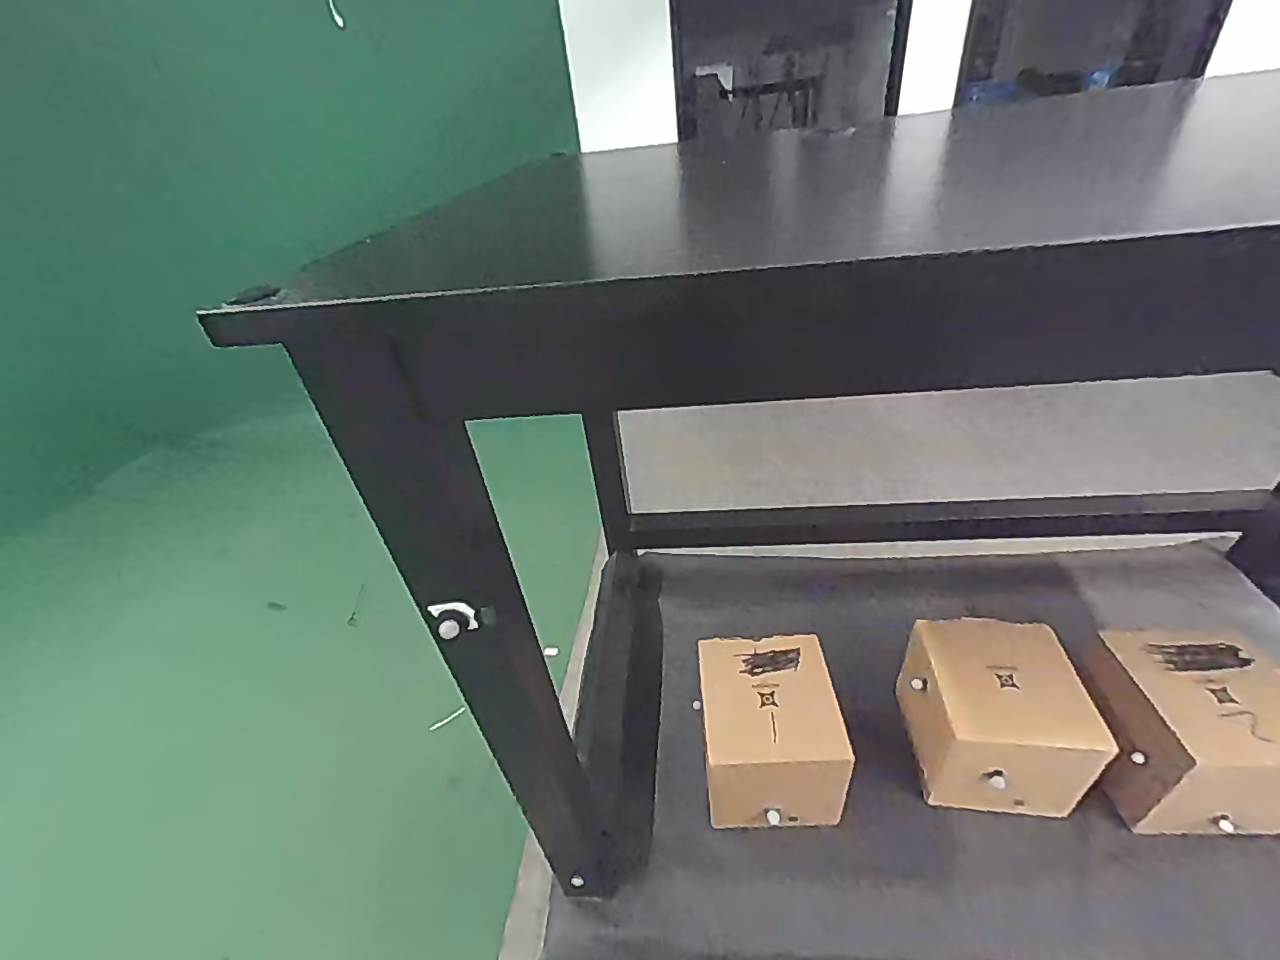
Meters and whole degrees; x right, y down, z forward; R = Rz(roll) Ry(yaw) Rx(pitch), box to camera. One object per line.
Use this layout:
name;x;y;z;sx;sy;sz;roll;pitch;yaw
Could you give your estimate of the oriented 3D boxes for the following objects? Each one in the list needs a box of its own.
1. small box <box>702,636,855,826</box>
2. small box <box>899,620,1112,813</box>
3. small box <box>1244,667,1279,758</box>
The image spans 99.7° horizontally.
small box;0.172;0.336;0.729;0.168;0.176;0.179;-5;36;4
small box;0.460;0.310;0.715;0.168;0.176;0.179;0;36;10
small box;0.900;0.305;0.630;0.168;0.176;0.179;-3;35;6
